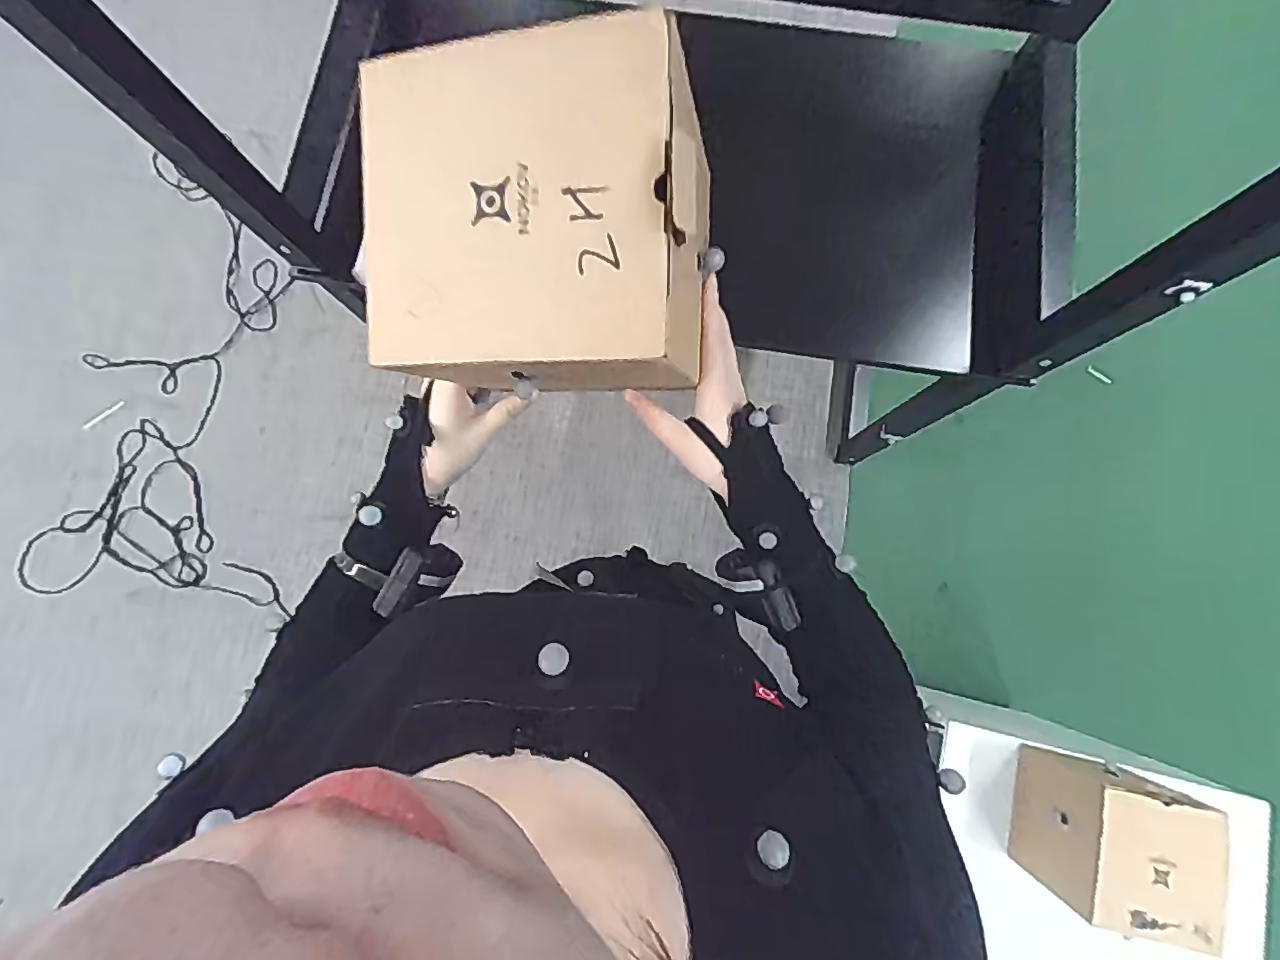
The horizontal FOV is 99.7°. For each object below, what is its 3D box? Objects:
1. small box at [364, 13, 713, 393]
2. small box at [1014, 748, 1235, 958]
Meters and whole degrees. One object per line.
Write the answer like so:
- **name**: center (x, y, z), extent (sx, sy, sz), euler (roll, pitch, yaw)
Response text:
- **small box**: center (-0.050, -0.147, 0.358), extent (0.179, 0.176, 0.168), euler (1, 94, 13)
- **small box**: center (0.670, 0.507, 0.767), extent (0.168, 0.176, 0.179), euler (12, 82, 3)
